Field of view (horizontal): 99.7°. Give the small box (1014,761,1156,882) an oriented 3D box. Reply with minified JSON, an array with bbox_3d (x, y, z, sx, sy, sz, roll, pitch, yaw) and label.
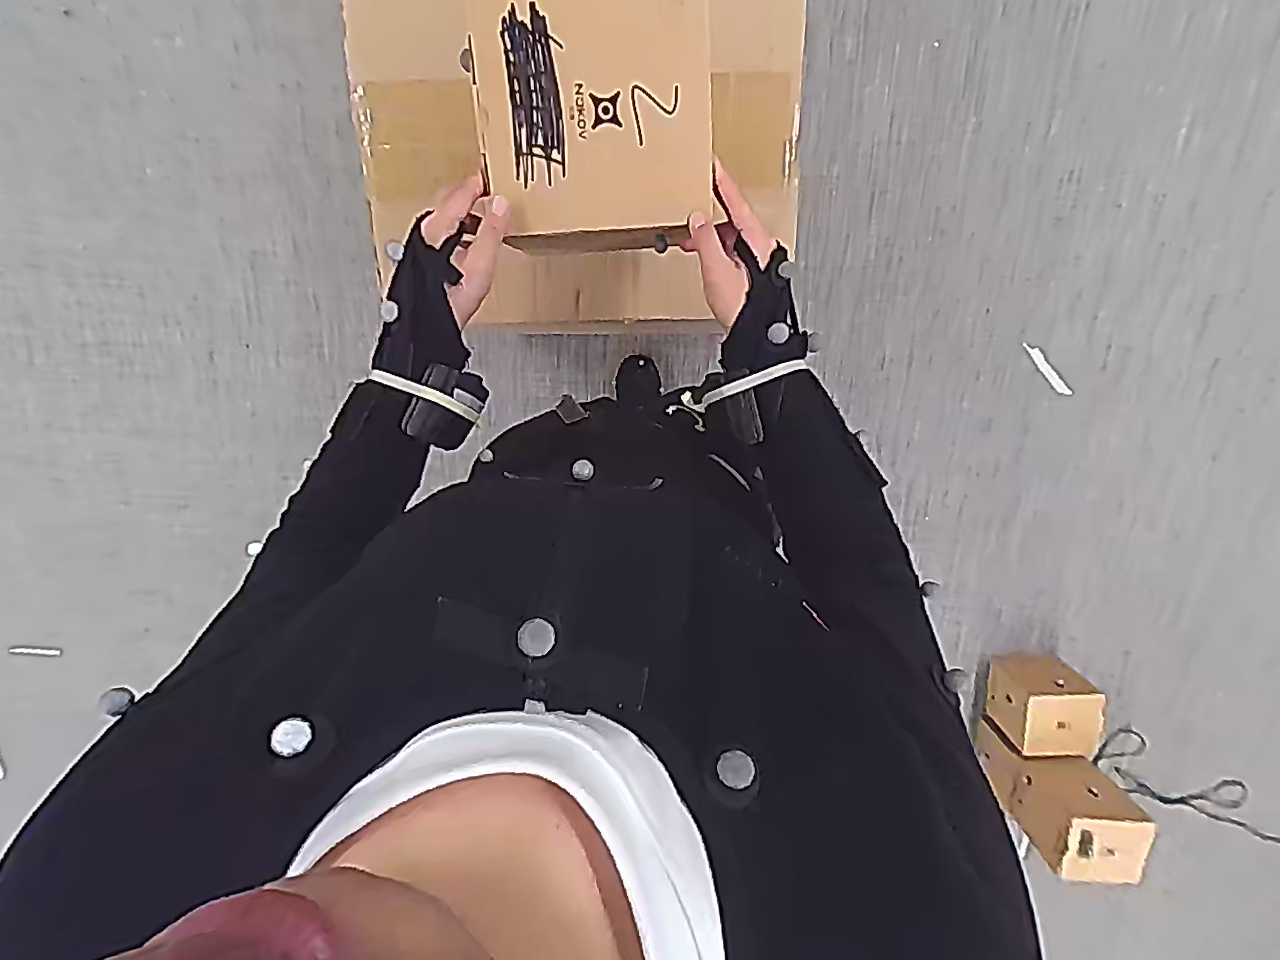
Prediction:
[{"bbox_3d":[1.006,0.774,1.241,0.179,0.176,0.168,2,104,1],"label":"small box"}]
